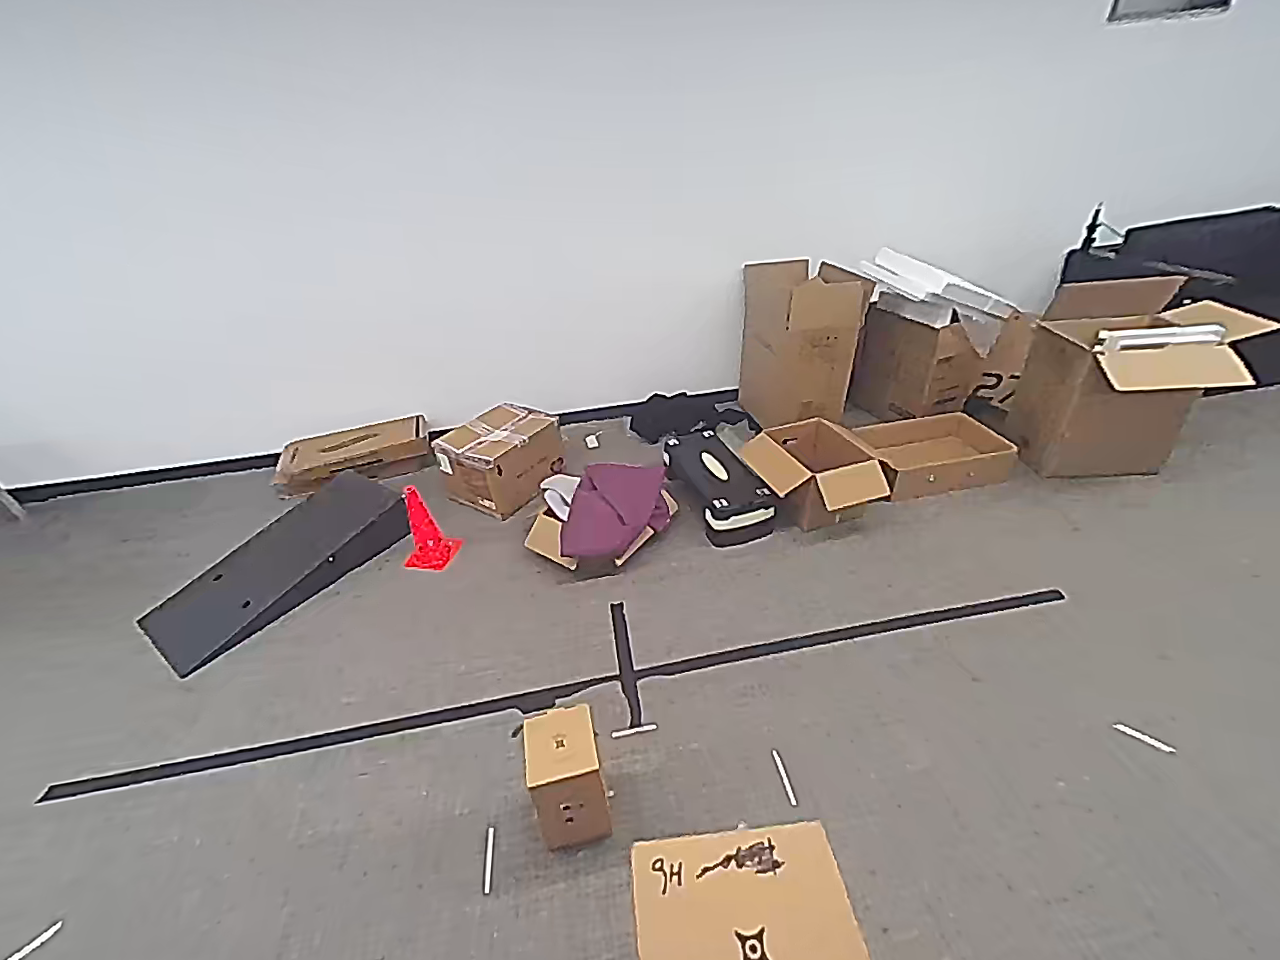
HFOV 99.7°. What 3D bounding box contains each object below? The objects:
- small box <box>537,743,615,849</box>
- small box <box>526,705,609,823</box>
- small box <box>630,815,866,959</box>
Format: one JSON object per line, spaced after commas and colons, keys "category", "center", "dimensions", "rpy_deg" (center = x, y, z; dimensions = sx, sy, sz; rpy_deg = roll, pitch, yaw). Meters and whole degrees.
{"category": "small box", "center": [-0.169, 0.826, 1.409], "dimensions": [0.179, 0.176, 0.168], "rpy_deg": [-10, 34, -7]}
{"category": "small box", "center": [-0.177, 0.691, 1.318], "dimensions": [0.168, 0.176, 0.179], "rpy_deg": [-13, 35, -8]}
{"category": "small box", "center": [0.083, 0.408, 0.436], "dimensions": [0.168, 0.176, 0.179], "rpy_deg": [-4, 35, -4]}
